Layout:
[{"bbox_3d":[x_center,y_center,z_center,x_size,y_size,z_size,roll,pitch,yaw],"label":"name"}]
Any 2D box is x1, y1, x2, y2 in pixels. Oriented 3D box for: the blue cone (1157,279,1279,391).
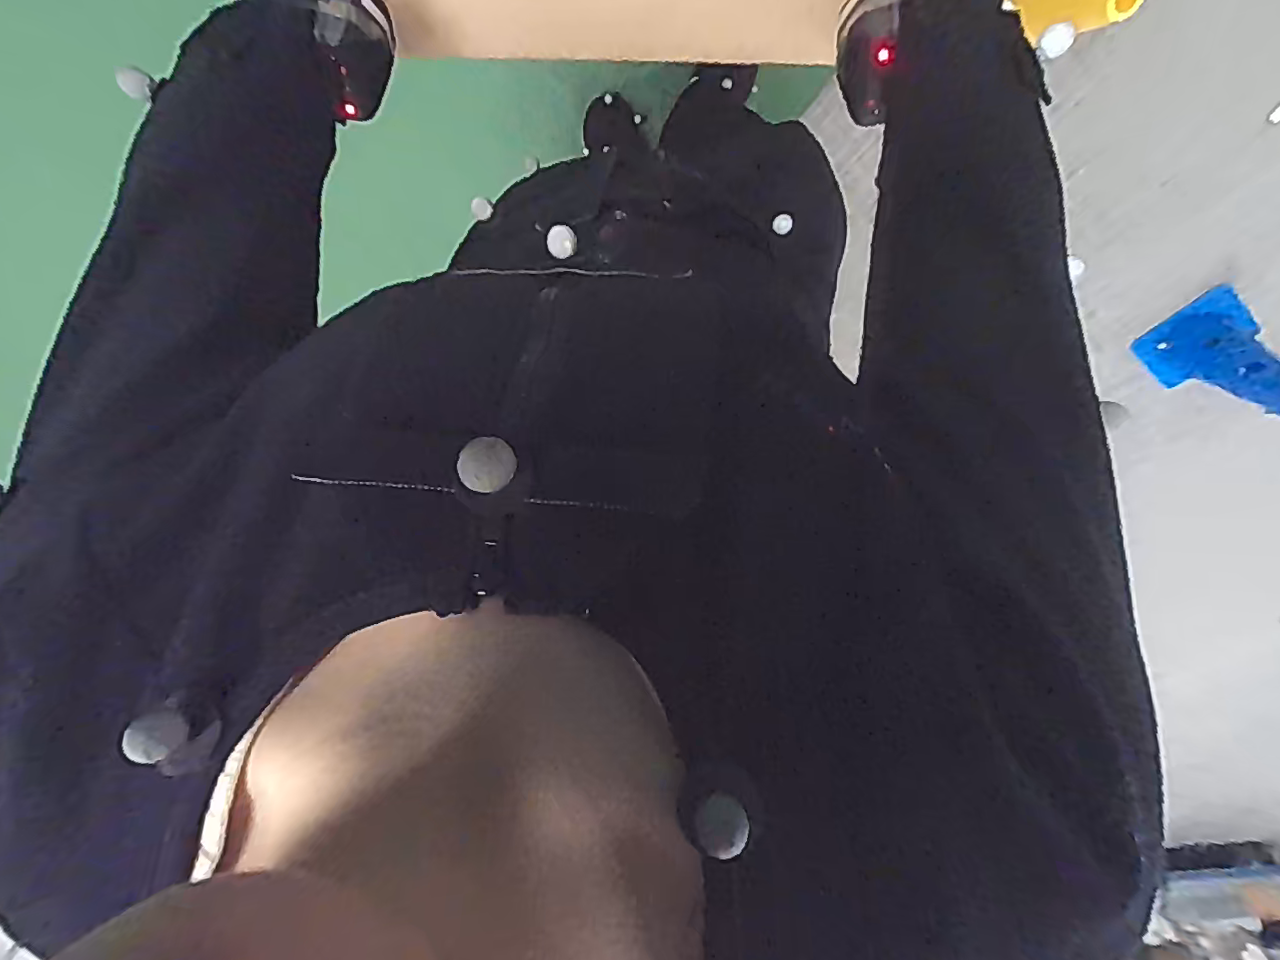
[{"bbox_3d":[1.280,-0.227,1.083,0.193,0.380,0.192,33,124,-20],"label":"blue cone"}]
